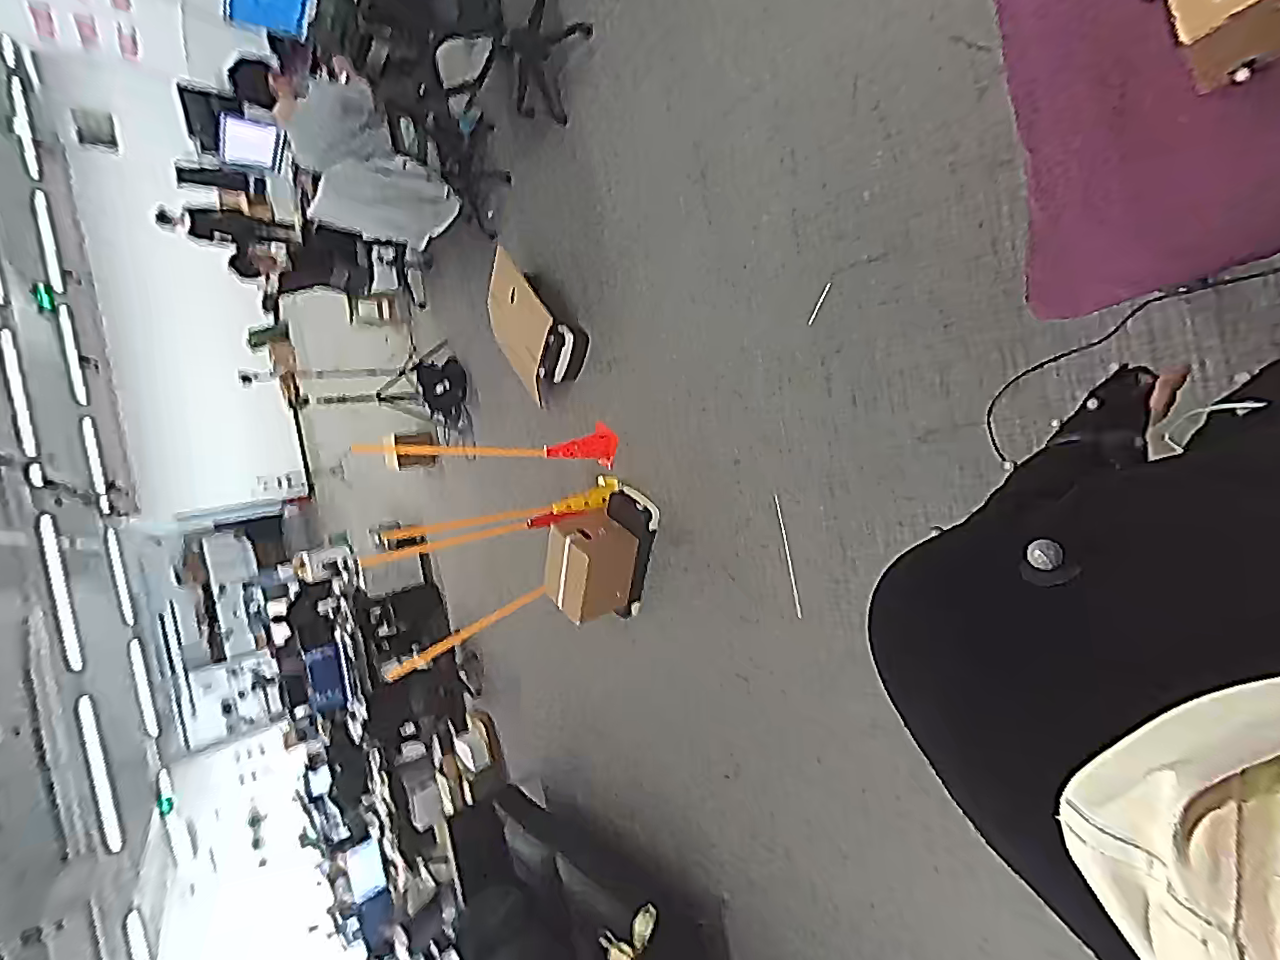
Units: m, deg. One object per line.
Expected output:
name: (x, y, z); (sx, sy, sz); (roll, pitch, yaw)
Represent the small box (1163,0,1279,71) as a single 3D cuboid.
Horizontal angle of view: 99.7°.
small box: (0.599, -0.527, 0.502); (0.168, 0.176, 0.179); (-16, 86, 51)
